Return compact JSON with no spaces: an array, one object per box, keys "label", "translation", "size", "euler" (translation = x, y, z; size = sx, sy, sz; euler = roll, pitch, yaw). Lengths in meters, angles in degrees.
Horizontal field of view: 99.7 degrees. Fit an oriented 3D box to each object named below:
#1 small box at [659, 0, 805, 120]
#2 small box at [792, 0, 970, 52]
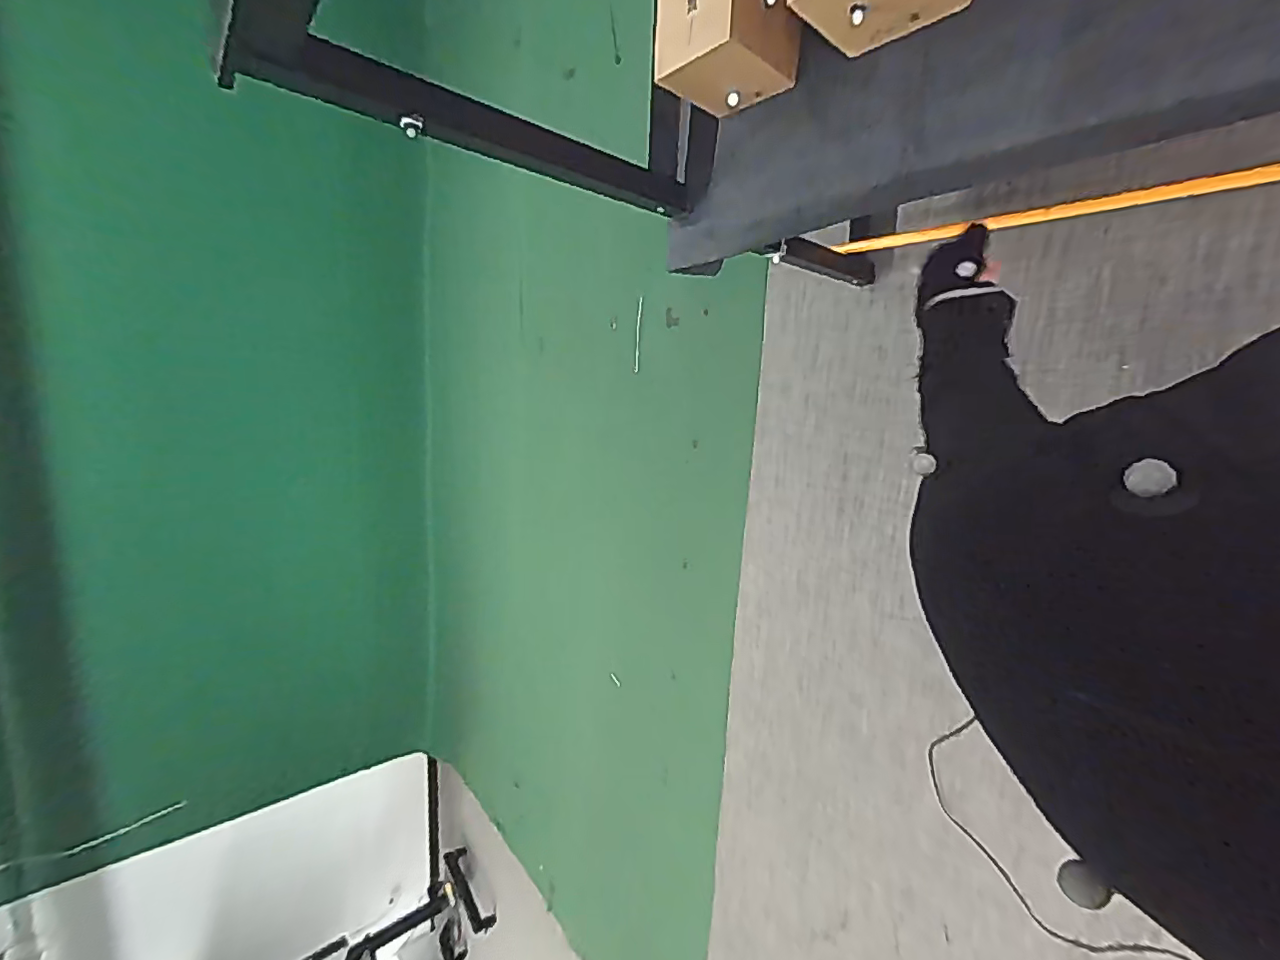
[{"label":"small box","translation":[0.151,-0.728,0.872],"size":[0.168,0.176,0.179],"euler":[14,105,48]},{"label":"small box","translation":[0.317,-0.690,0.685],"size":[0.168,0.176,0.179],"euler":[14,104,48]}]
